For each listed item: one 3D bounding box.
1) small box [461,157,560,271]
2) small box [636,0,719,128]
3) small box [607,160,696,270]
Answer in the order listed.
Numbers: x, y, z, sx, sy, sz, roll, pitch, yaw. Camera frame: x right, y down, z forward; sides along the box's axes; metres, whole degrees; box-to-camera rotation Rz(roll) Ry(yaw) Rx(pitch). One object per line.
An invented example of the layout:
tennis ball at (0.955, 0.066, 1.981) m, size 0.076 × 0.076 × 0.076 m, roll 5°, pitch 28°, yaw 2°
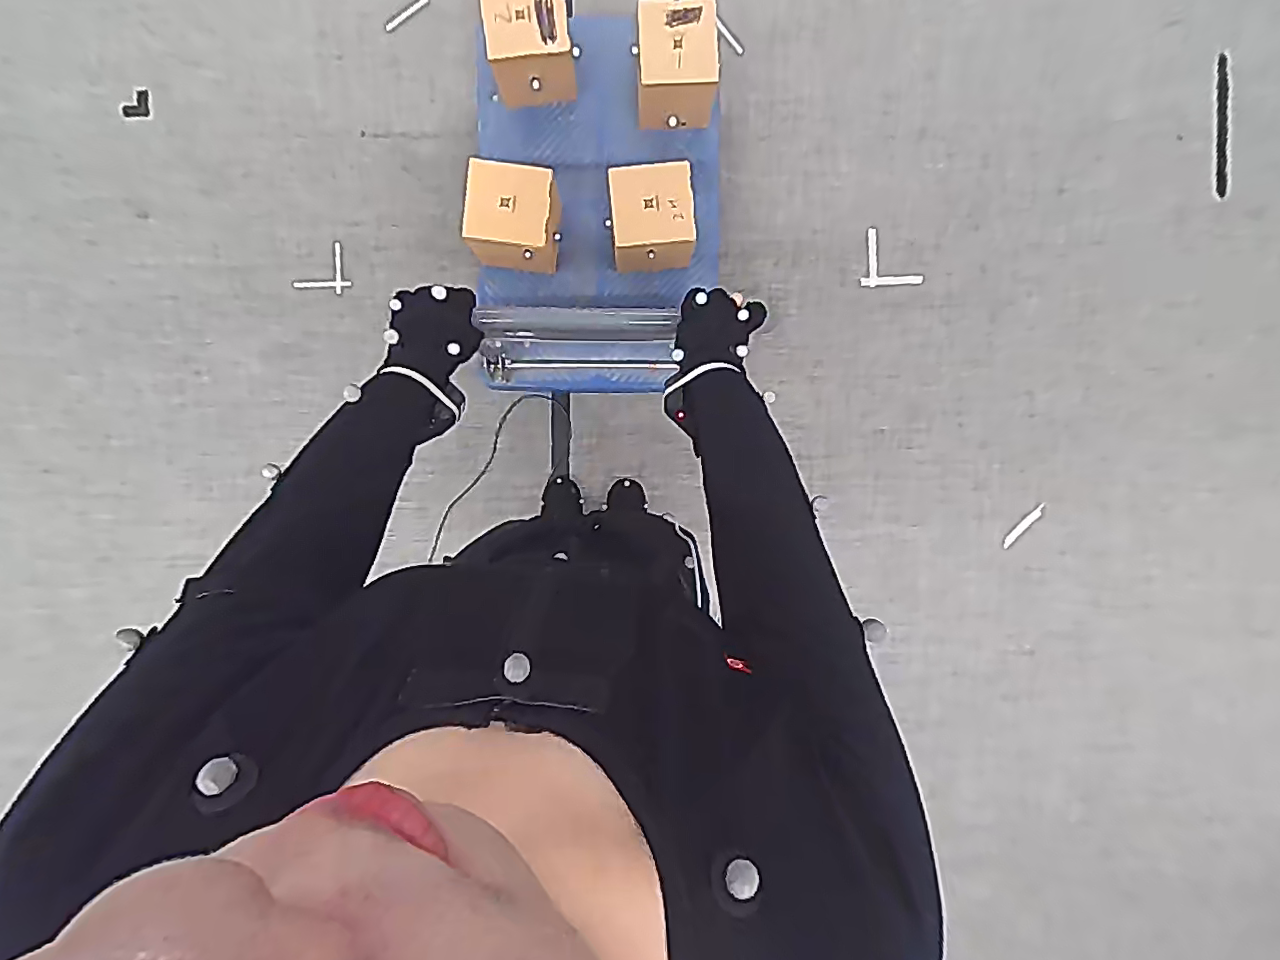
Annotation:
small box at (-0.280, -0.582, 1.204) m, size 0.179 × 0.176 × 0.168 m, roll 6°, pitch 92°, yaw -3°
small box at (0.077, -0.919, 1.196) m, size 0.168 × 0.176 × 0.179 m, roll -3°, pitch 94°, yaw -1°
small box at (0.024, -0.584, 1.210) m, size 0.179 × 0.176 × 0.168 m, roll -6°, pitch 93°, yaw -1°
